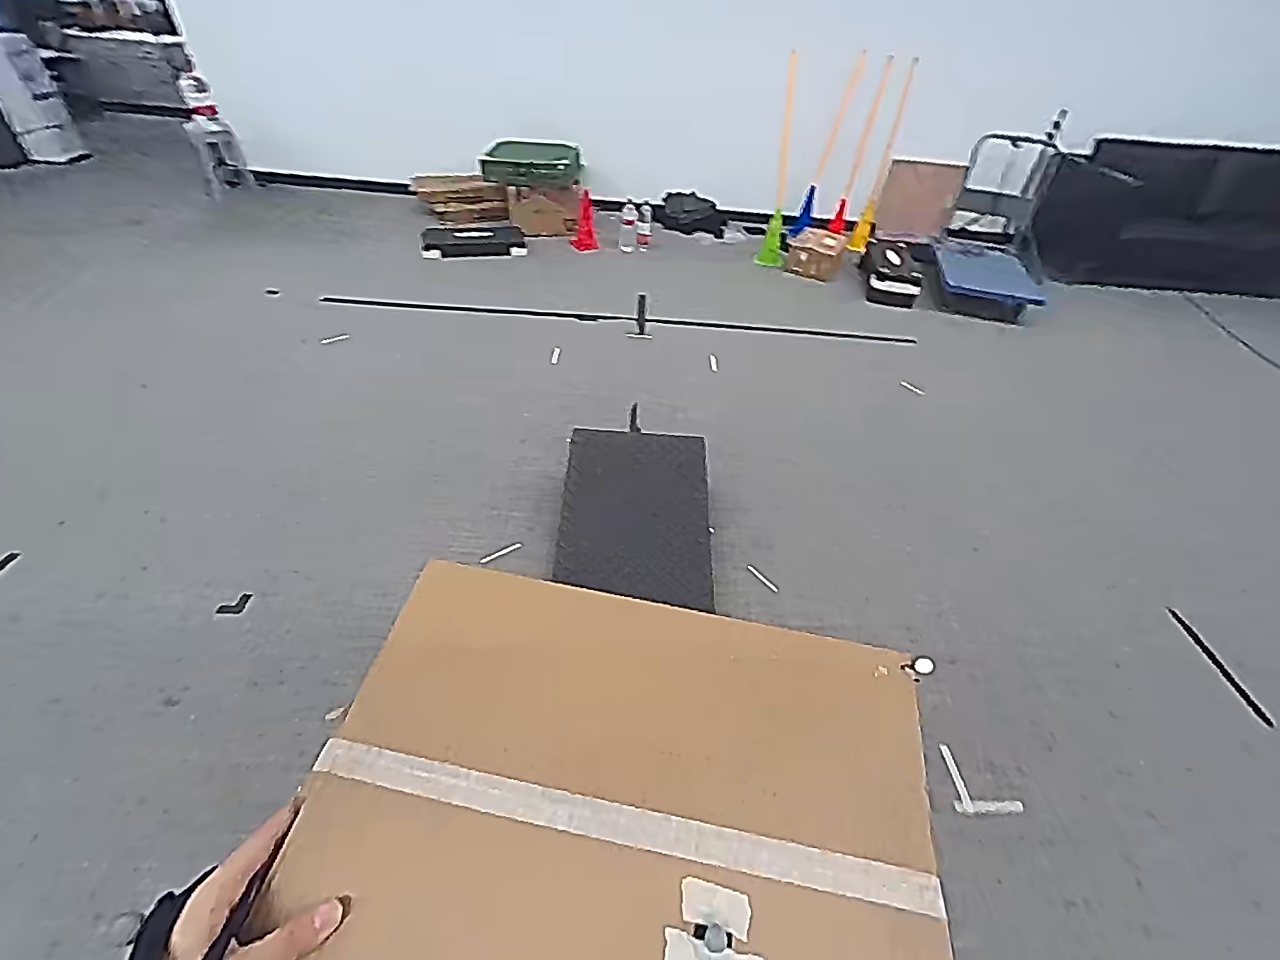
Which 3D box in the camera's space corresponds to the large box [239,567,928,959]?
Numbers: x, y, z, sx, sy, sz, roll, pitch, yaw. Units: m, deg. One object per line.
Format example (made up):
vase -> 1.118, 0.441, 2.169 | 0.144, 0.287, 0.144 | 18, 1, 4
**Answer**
large box -> -0.022, 0.315, 0.479 | 0.408, 0.320, 0.320 | 10, 52, 5
